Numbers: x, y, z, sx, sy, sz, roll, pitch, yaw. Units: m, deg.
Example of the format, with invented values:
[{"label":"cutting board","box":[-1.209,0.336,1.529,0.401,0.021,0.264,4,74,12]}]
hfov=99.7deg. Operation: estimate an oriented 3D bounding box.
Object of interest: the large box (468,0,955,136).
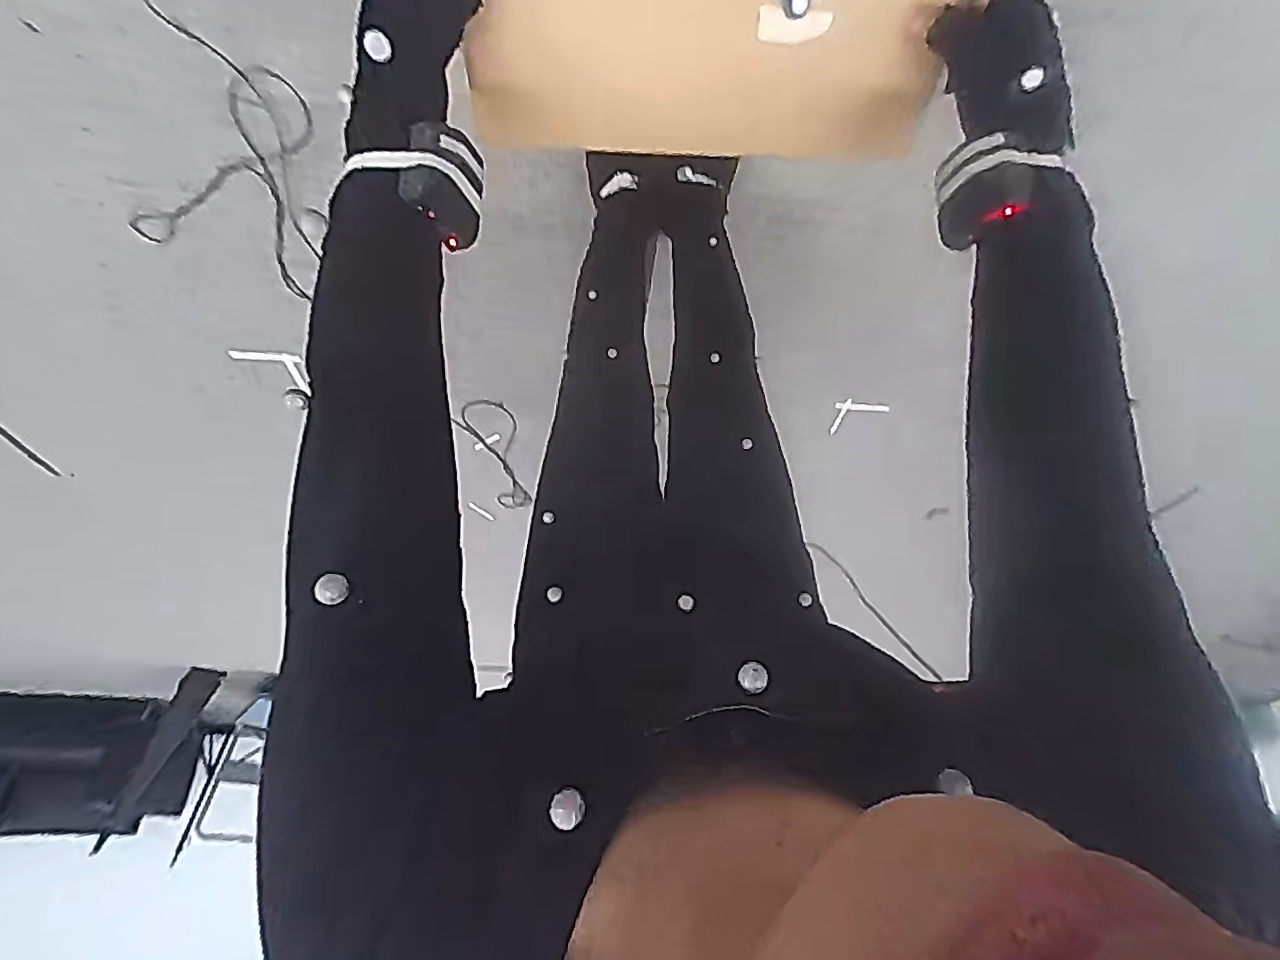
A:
[{"label":"large box","box":[0.056,-0.537,0.491,0.408,0.320,0.320,0,139,-2]}]
